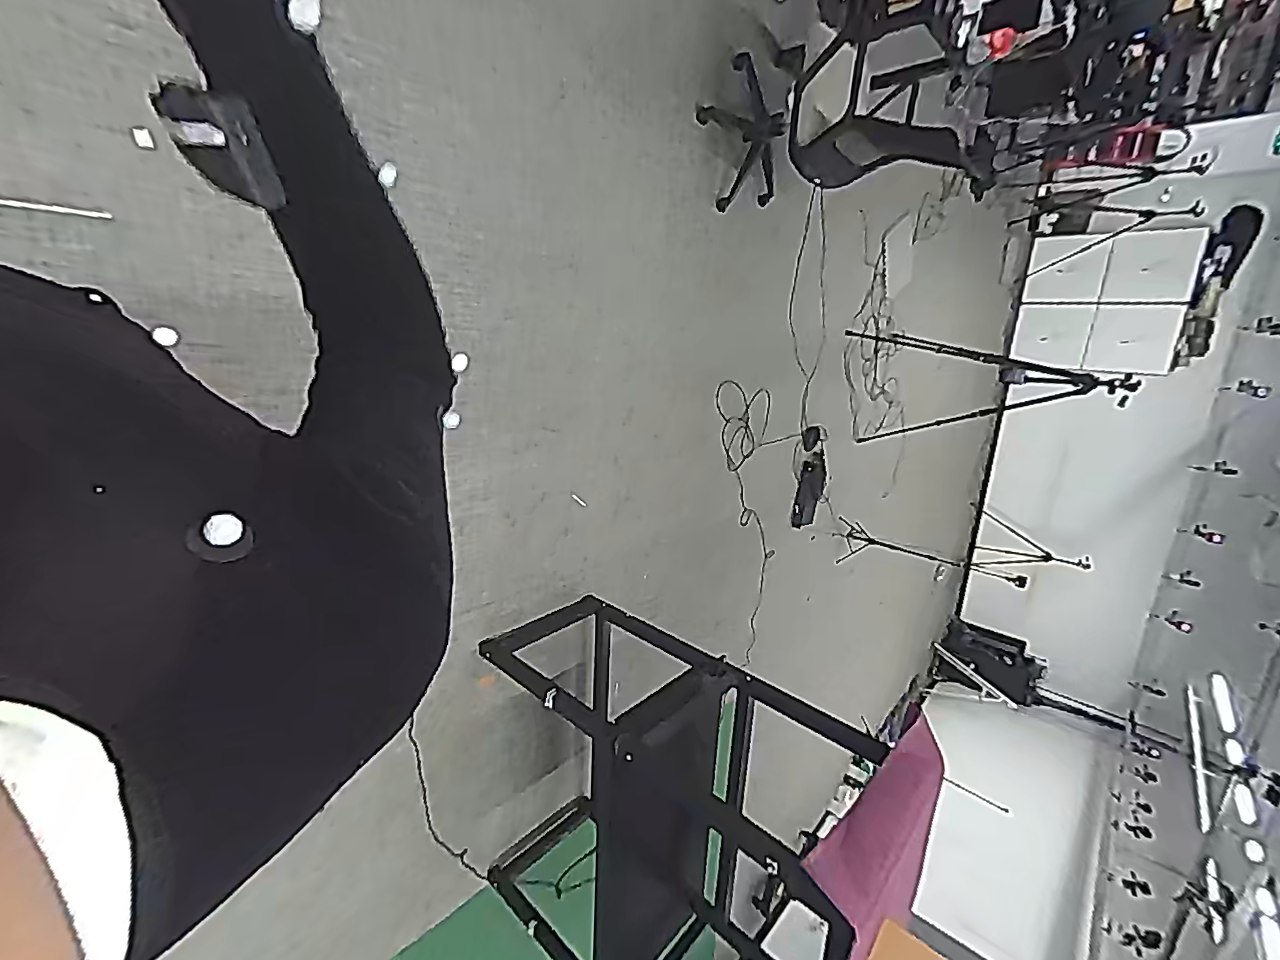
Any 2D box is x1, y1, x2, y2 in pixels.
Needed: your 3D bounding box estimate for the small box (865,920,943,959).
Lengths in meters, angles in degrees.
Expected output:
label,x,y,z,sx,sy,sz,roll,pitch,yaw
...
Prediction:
label,x,y,z,sx,sy,sz,roll,pitch,yaw
small box,0.594,1.162,1.218,0.179,0.176,0.168,-15,113,-46
